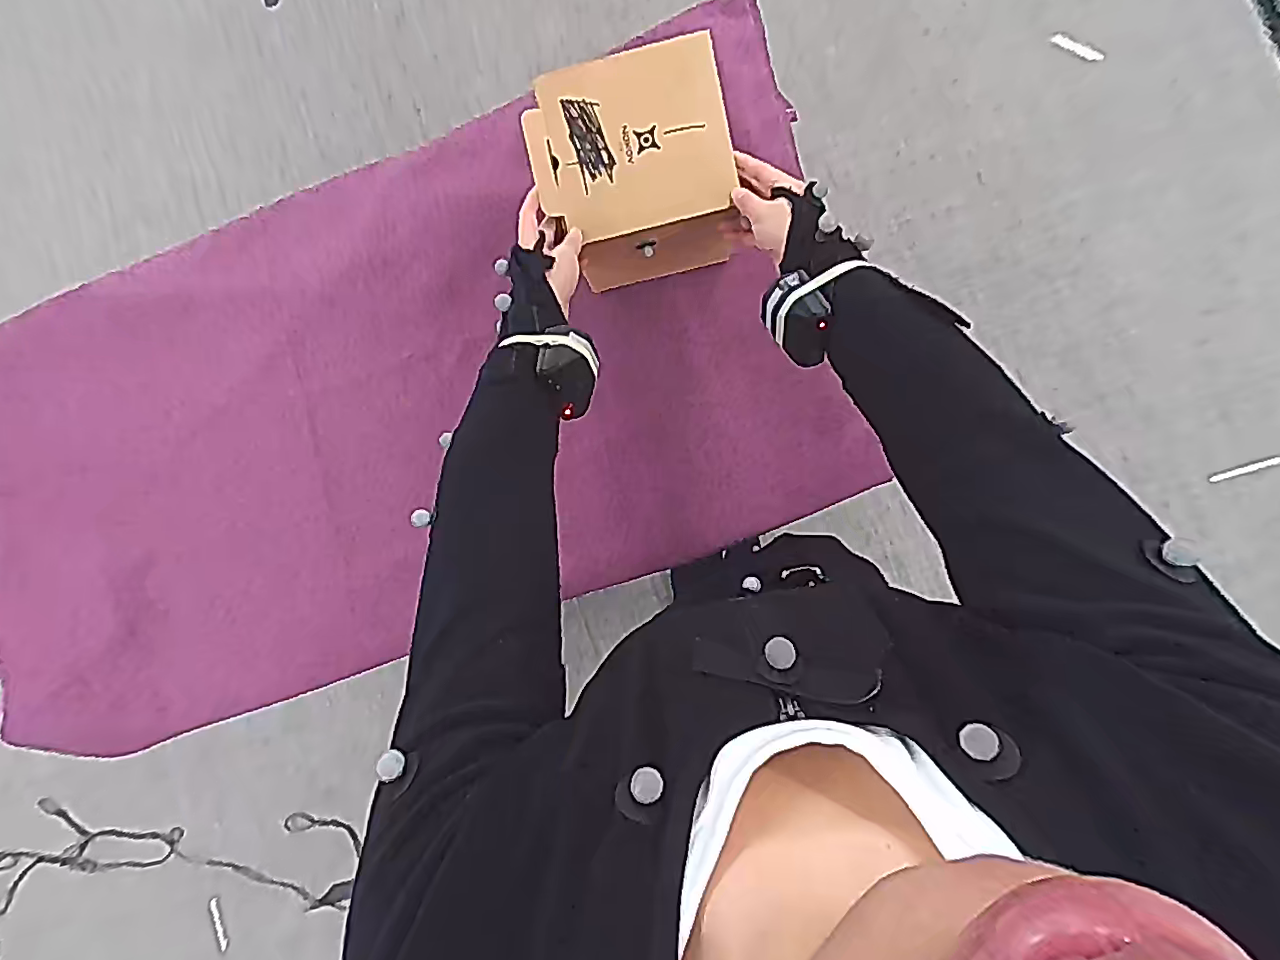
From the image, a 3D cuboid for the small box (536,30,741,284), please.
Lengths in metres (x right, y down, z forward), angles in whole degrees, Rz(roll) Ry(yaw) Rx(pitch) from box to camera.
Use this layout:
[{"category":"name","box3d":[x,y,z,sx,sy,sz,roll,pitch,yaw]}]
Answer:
[{"category":"small box","box3d":[0.004,-0.334,0.600,0.179,0.176,0.168,-12,94,4]}]
